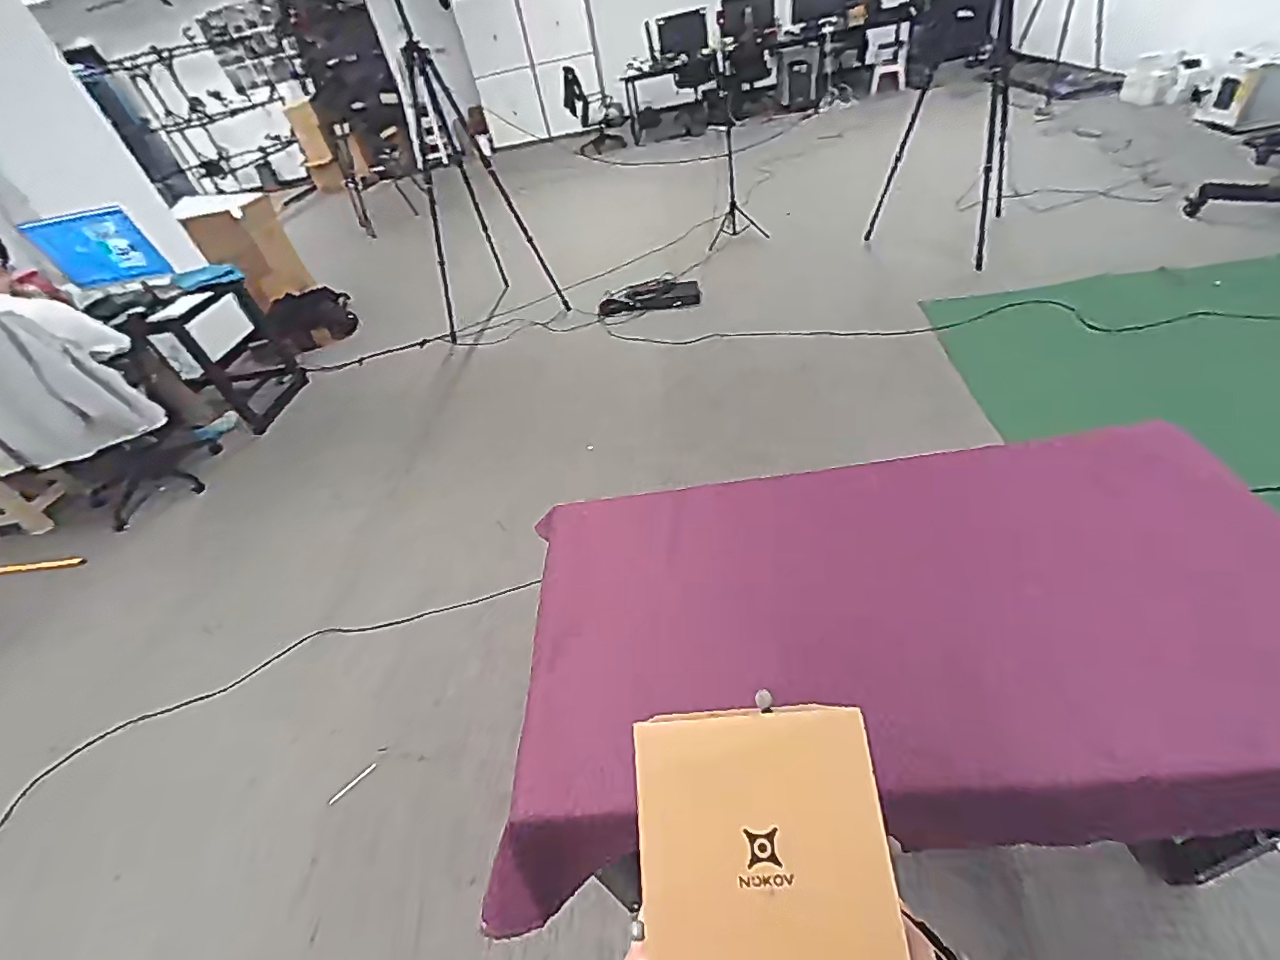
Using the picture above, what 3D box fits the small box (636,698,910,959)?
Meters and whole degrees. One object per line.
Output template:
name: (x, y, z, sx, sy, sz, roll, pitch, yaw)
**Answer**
small box: (0.090, 0.275, 0.438, 0.168, 0.176, 0.179, -7, 70, 4)
